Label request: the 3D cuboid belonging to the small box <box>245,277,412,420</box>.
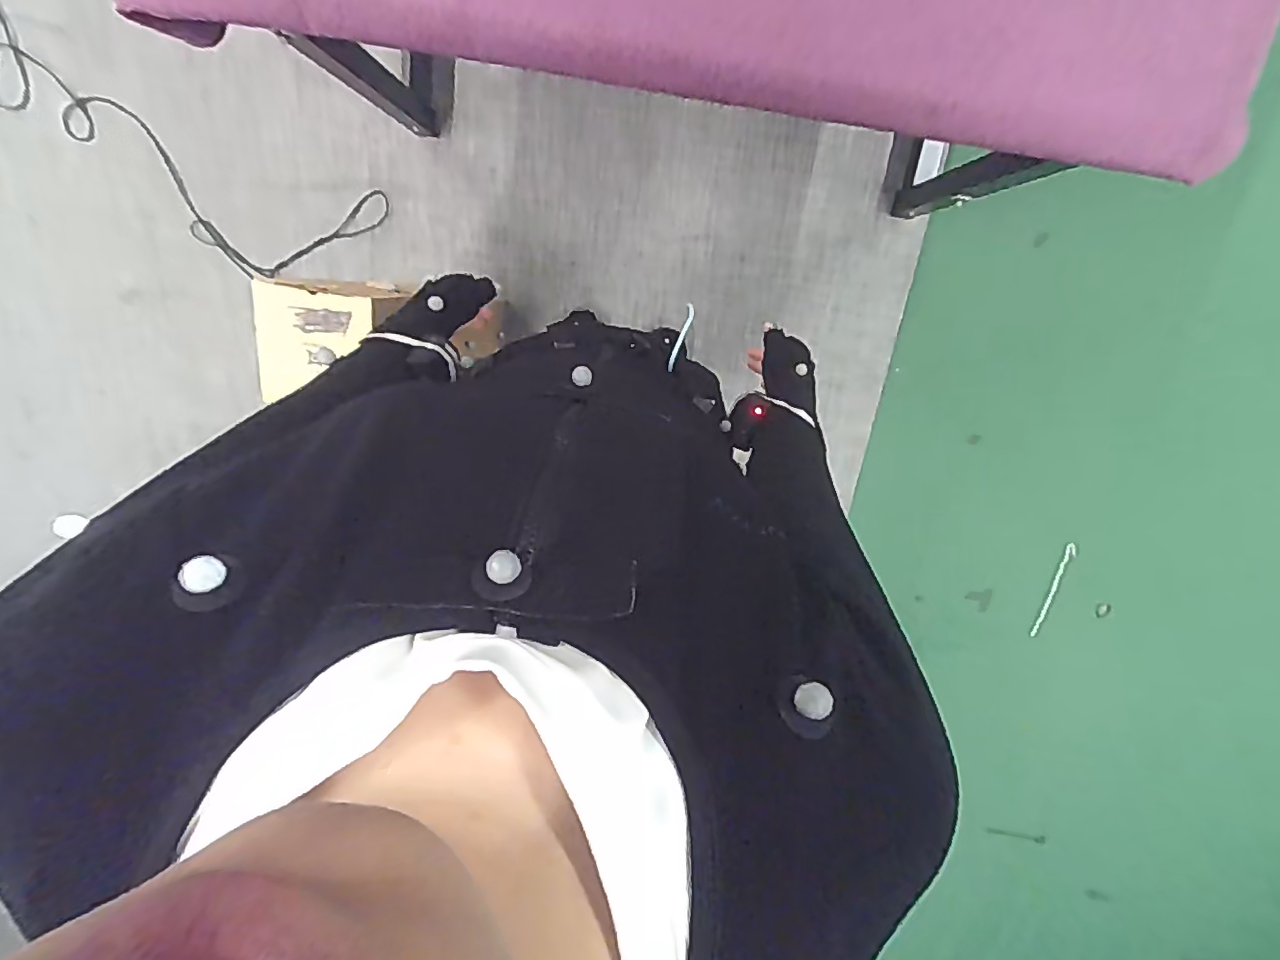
[{"bbox_3d":[-0.470,-0.211,0.840,0.168,0.176,0.179,10,111,-3],"label":"small box"}]
